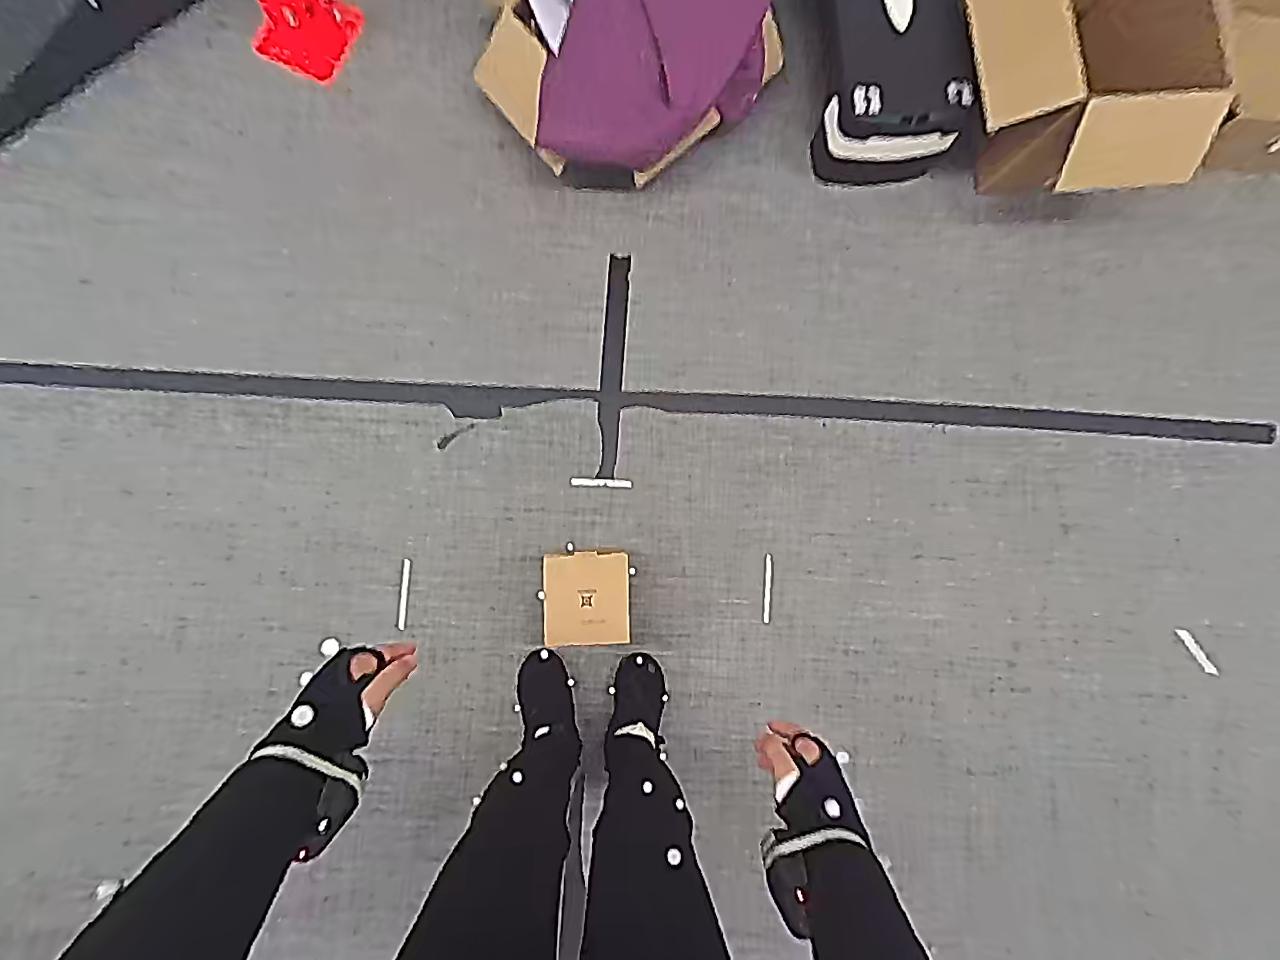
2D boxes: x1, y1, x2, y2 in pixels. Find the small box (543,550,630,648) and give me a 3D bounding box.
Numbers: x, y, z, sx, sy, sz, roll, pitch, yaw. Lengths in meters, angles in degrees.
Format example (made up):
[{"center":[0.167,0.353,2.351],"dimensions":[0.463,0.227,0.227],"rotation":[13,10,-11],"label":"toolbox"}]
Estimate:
[{"center":[-0.106,0.235,1.110],"dimensions":[0.168,0.176,0.179],"rotation":[-2,87,-2],"label":"small box"}]
